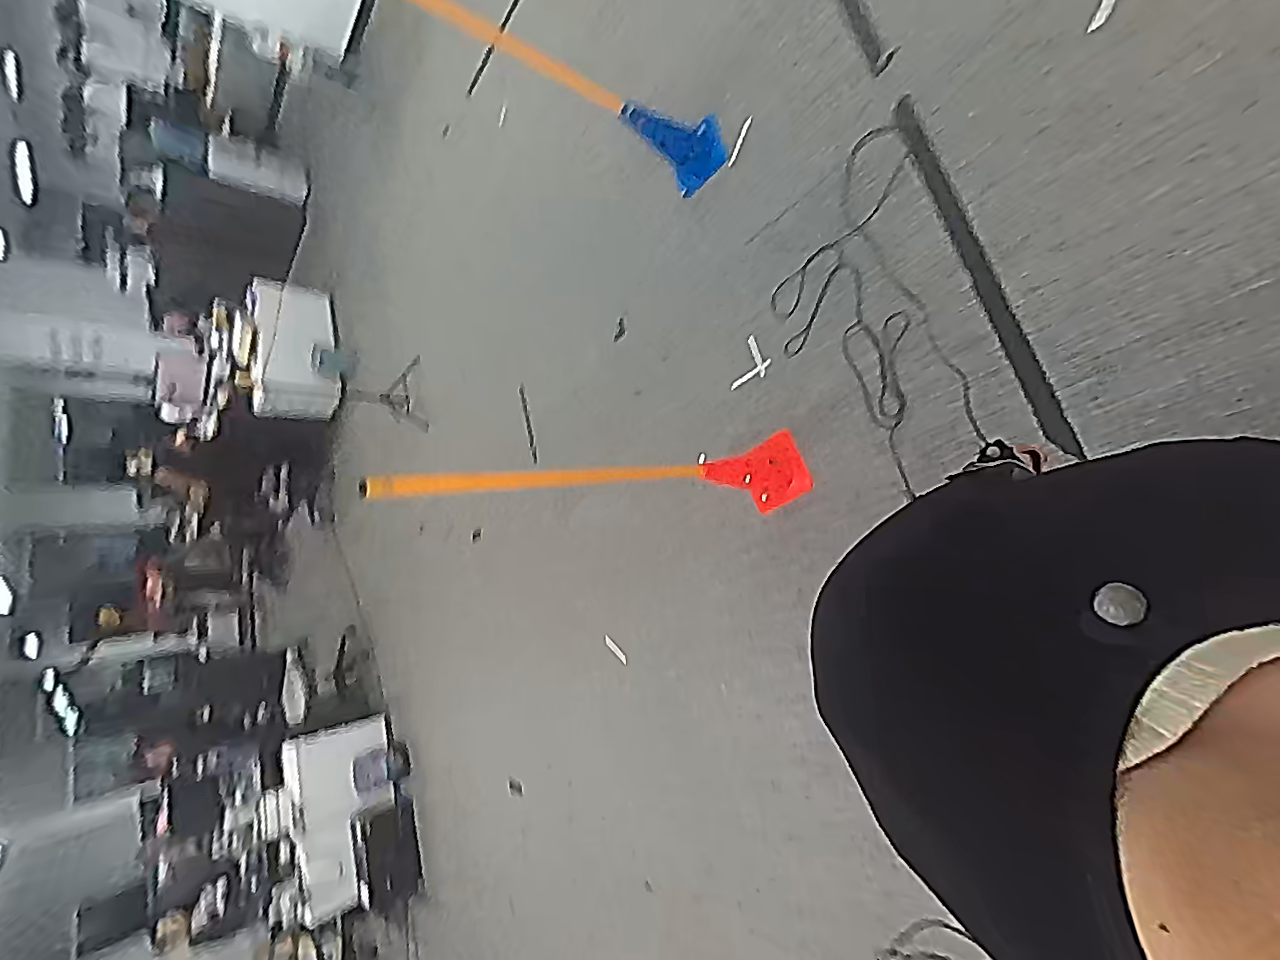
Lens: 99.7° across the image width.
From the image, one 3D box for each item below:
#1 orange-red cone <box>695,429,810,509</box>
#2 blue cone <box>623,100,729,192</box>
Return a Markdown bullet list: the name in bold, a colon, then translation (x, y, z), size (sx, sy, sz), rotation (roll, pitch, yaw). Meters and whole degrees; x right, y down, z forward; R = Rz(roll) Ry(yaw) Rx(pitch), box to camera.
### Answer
- **orange-red cone**: translation (0.279, -0.033, 1.503), size (0.199, 0.360, 0.198), rotation (-34, 67, 39)
- **blue cone**: translation (0.092, -1.107, 1.716), size (0.193, 0.380, 0.192), rotation (-25, 73, 43)
